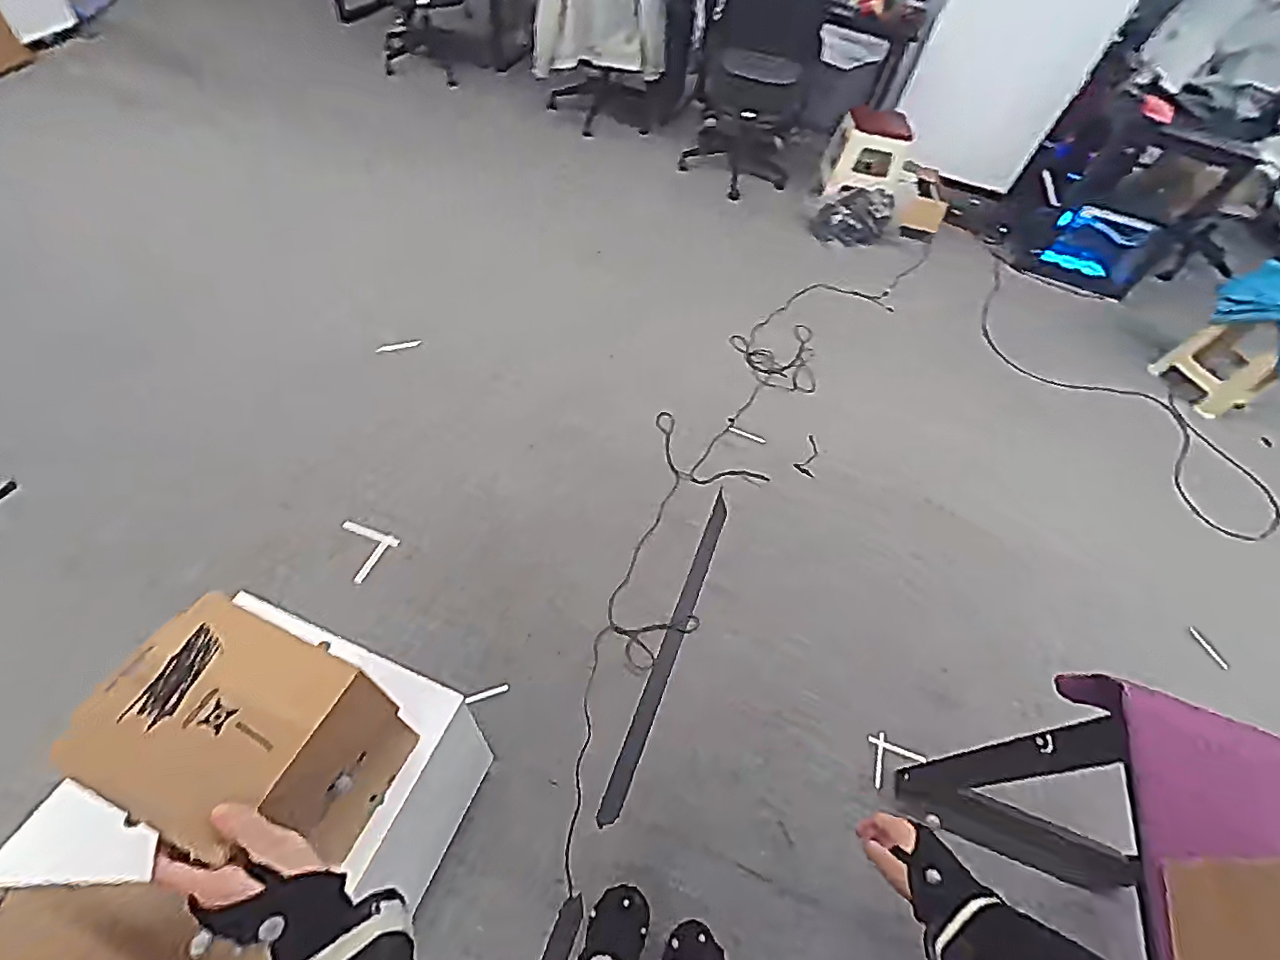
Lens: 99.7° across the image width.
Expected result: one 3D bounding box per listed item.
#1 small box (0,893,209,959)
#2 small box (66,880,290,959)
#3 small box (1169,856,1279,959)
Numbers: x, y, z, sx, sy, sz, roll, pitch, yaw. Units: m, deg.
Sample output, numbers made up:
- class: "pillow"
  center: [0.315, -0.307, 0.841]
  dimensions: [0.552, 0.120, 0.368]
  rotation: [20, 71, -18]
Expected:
- class: "small box"
  center: [-0.470, 0.424, 0.387]
  dimensions: [0.179, 0.176, 0.168]
  rotation: [20, 54, 6]
- class: "small box"
  center: [-0.493, 0.517, 0.518]
  dimensions: [0.179, 0.176, 0.168]
  rotation: [21, 55, 8]
- class: "small box"
  center: [0.697, 0.514, 0.543]
  dimensions: [0.168, 0.176, 0.179]
  rotation: [25, 55, 8]
